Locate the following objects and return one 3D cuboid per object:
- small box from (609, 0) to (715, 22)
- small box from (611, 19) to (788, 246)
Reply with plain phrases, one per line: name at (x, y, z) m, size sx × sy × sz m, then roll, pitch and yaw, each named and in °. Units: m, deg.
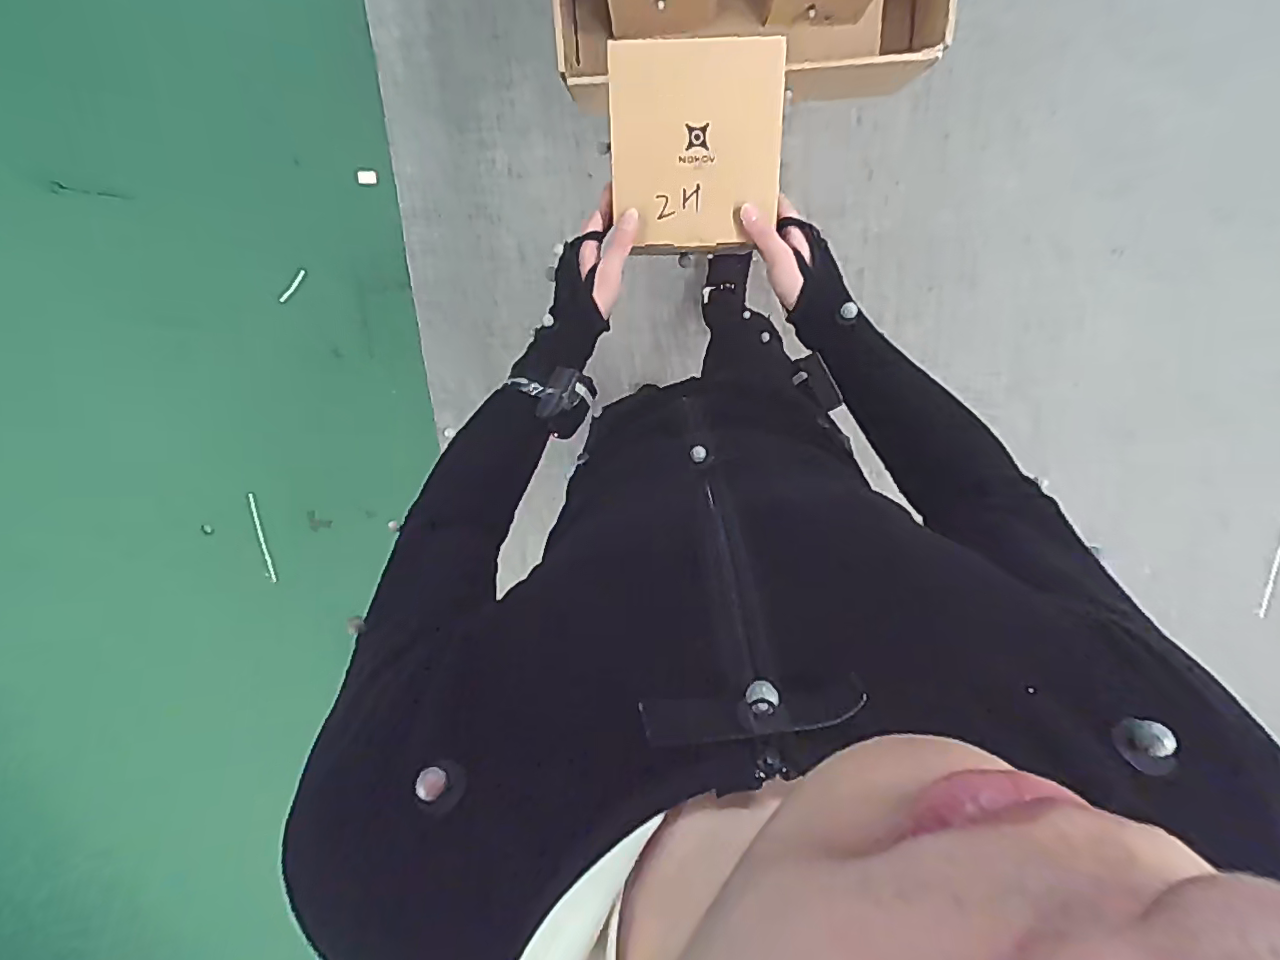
small box at (0.033, -0.841, 0.851) m, size 0.179 × 0.176 × 0.168 m, roll -3°, pitch 108°, yaw 2°
small box at (0.053, -0.357, 0.588) m, size 0.168 × 0.176 × 0.179 m, roll -1°, pitch 110°, yaw 0°
